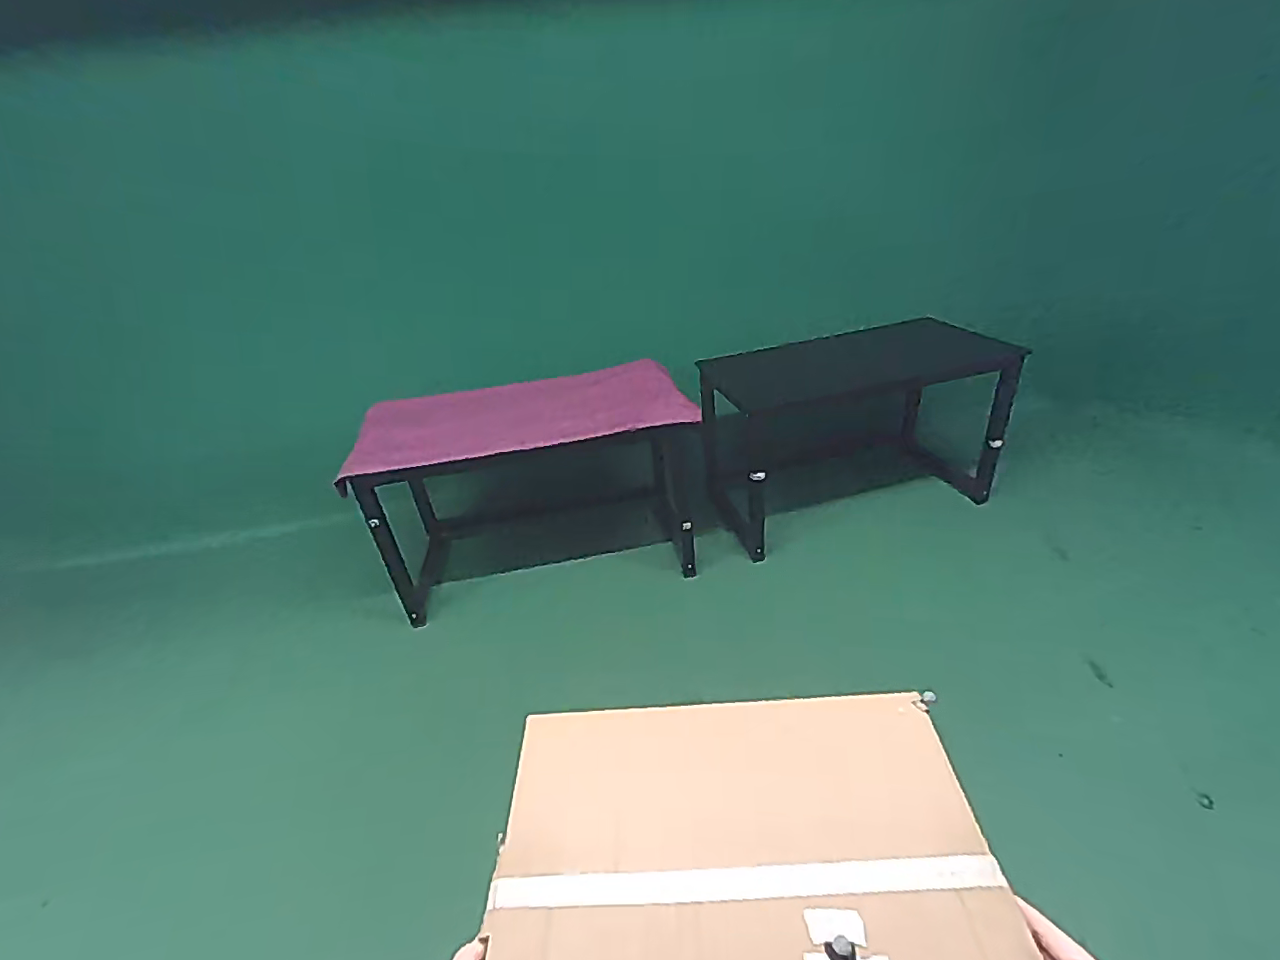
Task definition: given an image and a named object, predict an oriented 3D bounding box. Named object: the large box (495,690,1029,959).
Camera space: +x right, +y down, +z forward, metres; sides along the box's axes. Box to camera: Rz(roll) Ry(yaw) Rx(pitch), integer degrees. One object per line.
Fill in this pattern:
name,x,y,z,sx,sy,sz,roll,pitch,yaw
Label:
large box,0.096,0.445,0.536,0.408,0.320,0.320,-4,37,3
